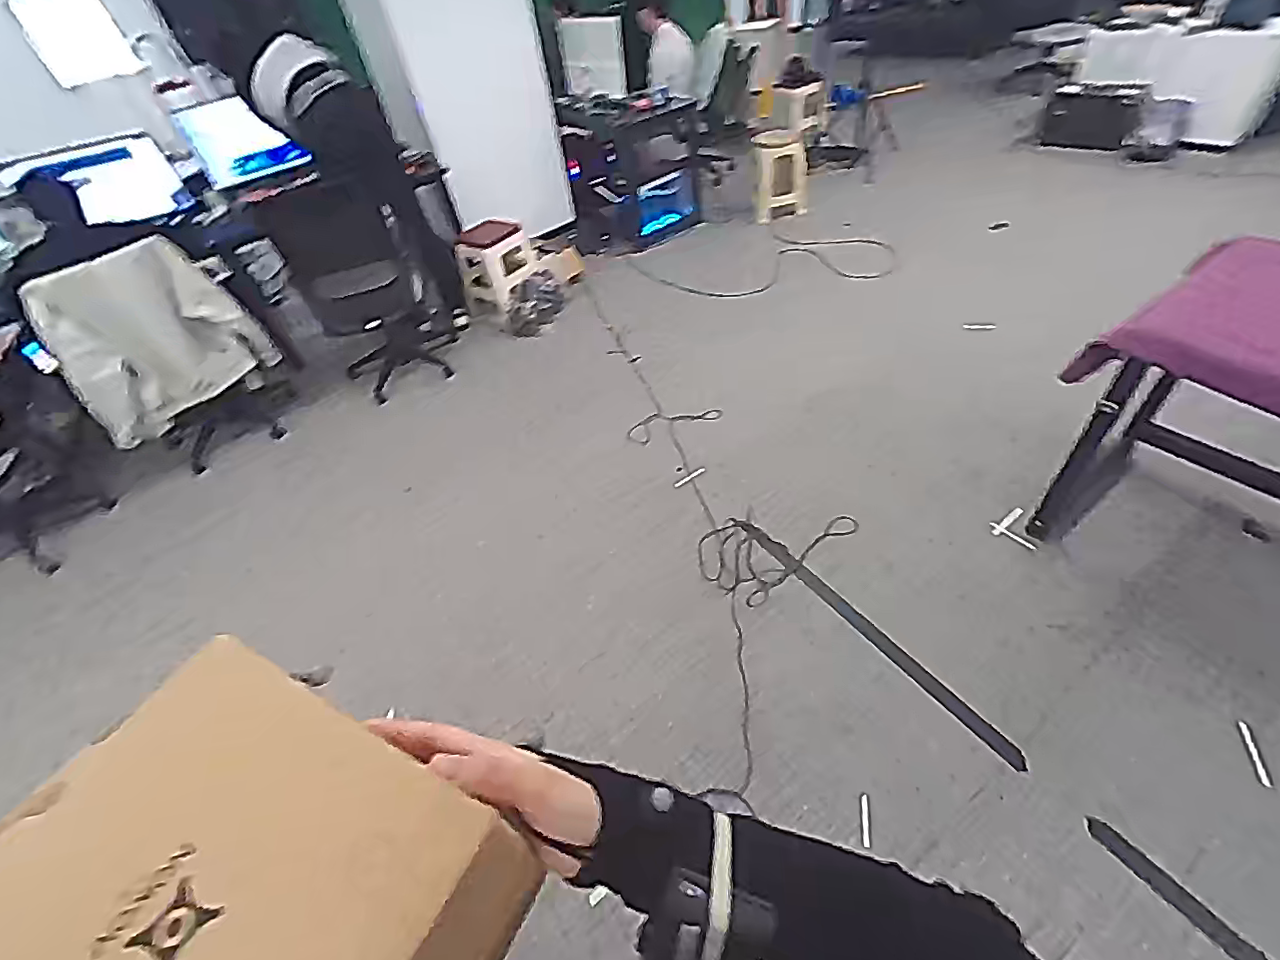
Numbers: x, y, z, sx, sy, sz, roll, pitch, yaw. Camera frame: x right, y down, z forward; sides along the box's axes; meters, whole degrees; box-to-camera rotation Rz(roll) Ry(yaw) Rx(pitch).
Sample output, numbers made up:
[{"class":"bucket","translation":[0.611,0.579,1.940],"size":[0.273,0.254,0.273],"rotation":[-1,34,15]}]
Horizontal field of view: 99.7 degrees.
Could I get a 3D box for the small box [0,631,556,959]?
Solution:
[{"class":"small box","translation":[-0.160,0.213,0.266],"size":[0.179,0.176,0.168],"rotation":[22,52,20]}]
